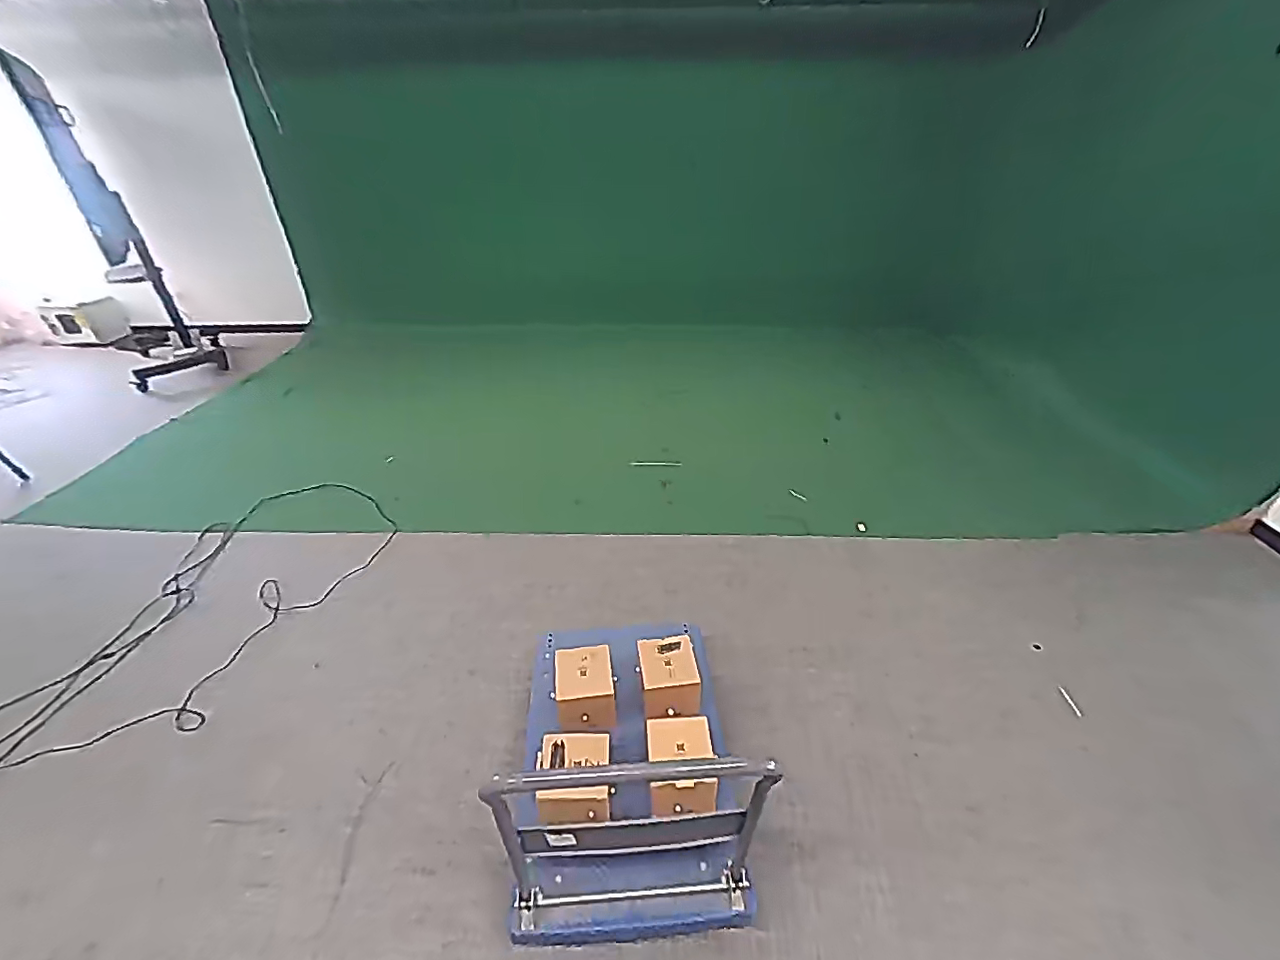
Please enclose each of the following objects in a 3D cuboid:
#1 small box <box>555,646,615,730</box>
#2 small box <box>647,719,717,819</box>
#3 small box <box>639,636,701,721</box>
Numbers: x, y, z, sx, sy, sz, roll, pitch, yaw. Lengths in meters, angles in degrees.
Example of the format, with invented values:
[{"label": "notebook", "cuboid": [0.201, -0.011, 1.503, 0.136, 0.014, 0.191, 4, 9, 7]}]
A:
[{"label": "small box", "cuboid": [-0.165, 0.630, 1.622, 0.168, 0.176, 0.179, -4, 34, -6]}, {"label": "small box", "cuboid": [0.104, 0.761, 1.428, 0.168, 0.176, 0.179, -2, 35, -2]}, {"label": "small box", "cuboid": [0.085, 0.607, 1.650, 0.168, 0.176, 0.179, -5, 36, -5]}]
